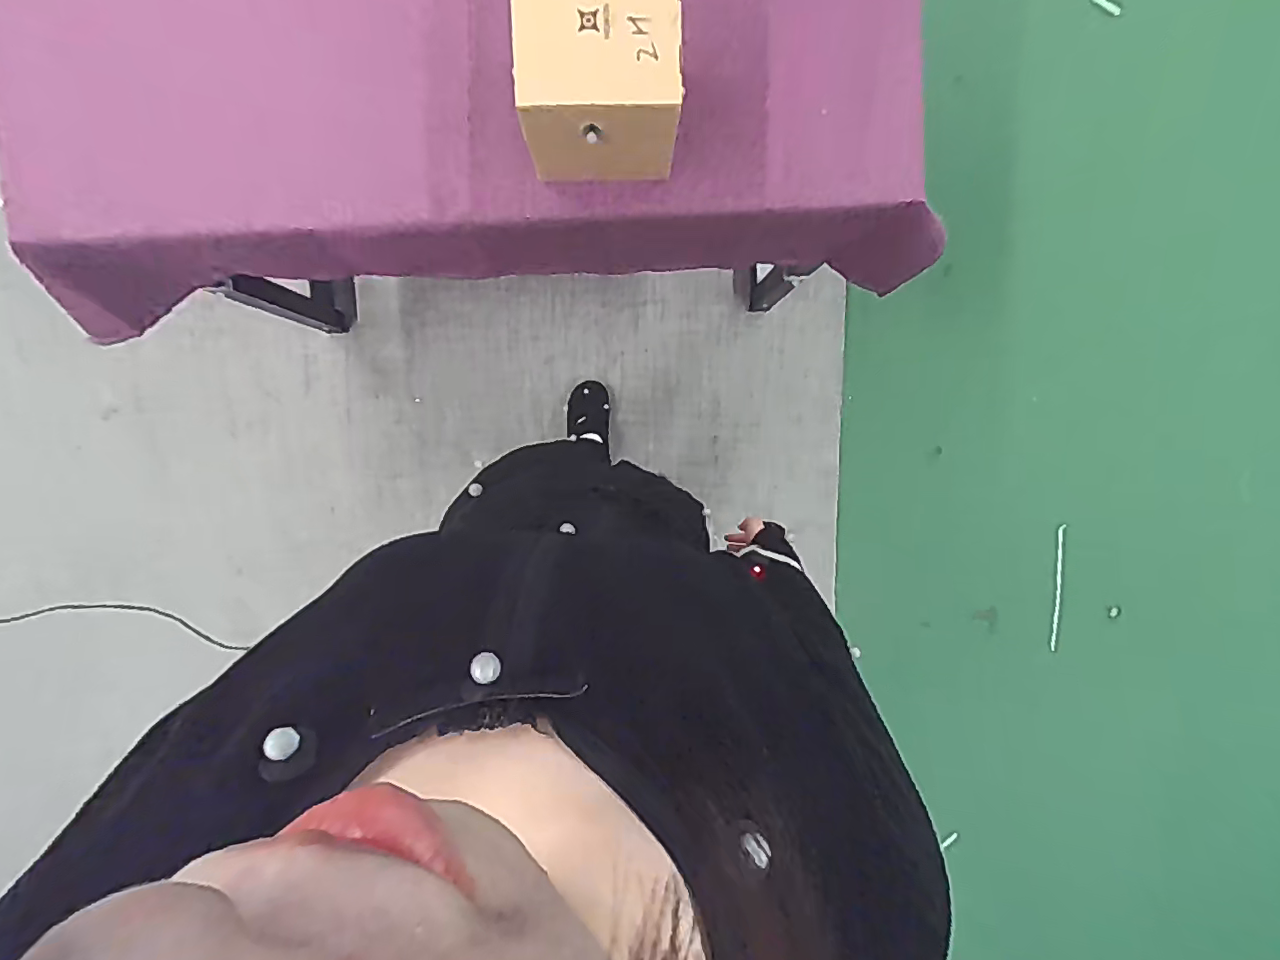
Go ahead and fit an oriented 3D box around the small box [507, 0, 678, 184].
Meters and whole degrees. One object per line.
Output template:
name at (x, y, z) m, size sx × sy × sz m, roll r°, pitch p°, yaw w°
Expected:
small box at (-0.050, -0.469, 0.635) m, size 0.179 × 0.176 × 0.168 m, roll -1°, pitch 95°, yaw -2°
